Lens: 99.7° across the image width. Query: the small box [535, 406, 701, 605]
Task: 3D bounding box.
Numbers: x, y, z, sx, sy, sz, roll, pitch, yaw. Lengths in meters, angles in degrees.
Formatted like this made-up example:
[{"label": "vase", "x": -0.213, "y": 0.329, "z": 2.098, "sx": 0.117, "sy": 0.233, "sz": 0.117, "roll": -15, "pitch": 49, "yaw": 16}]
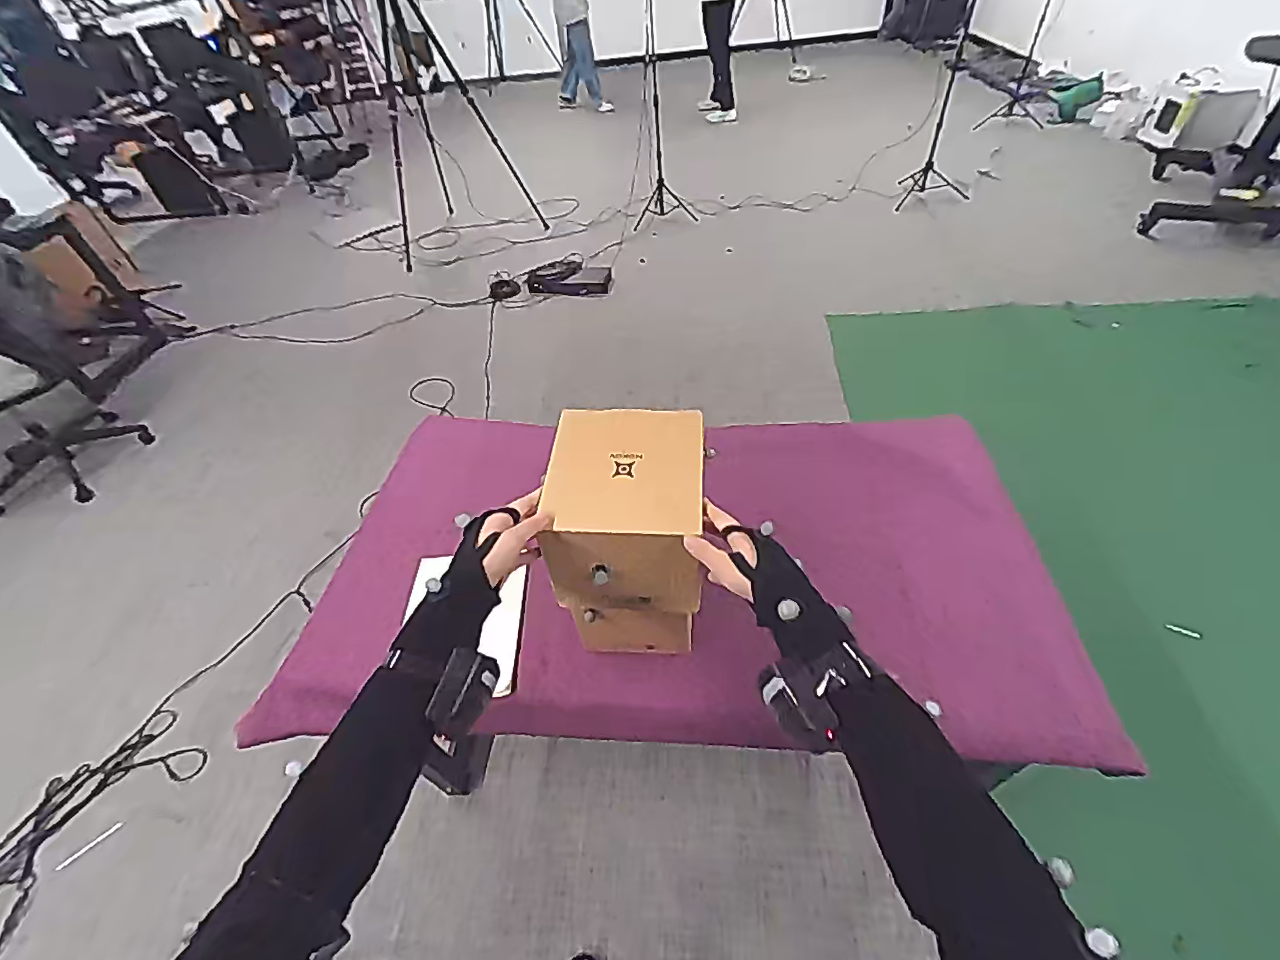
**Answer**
[{"label": "small box", "x": -0.013, "y": 0.033, "z": 0.636, "sx": 0.168, "sy": 0.176, "sz": 0.179, "roll": 2, "pitch": 50, "yaw": 4}]
